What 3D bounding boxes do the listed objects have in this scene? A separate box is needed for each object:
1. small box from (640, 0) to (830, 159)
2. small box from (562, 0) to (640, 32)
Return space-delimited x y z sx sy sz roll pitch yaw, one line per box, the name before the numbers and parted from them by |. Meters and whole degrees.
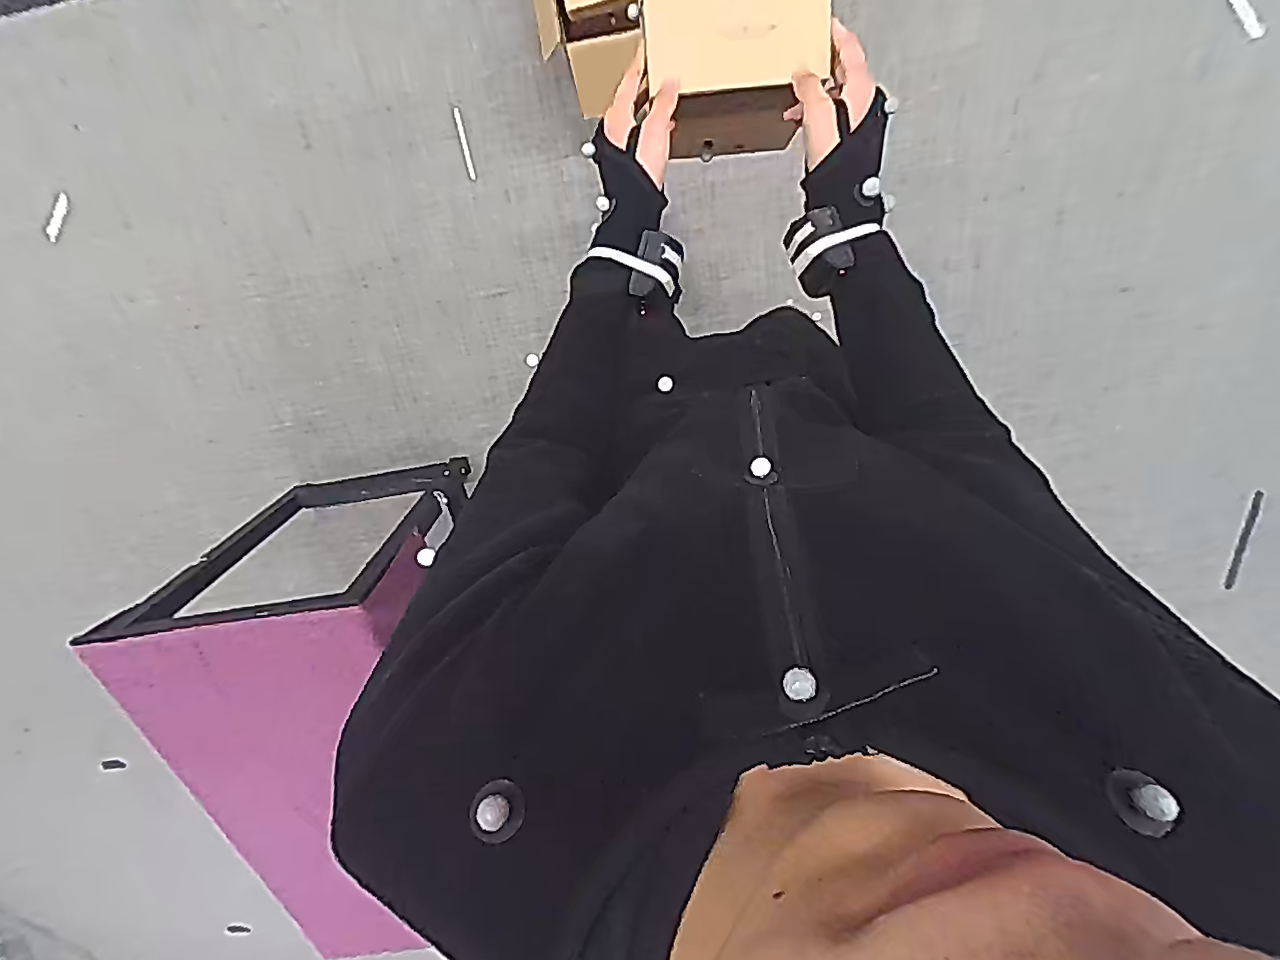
small box | 0.084 -0.455 0.547 0.168 0.176 0.179 -3 102 2
small box | -0.067 -0.936 0.965 0.168 0.176 0.179 -10 116 4
